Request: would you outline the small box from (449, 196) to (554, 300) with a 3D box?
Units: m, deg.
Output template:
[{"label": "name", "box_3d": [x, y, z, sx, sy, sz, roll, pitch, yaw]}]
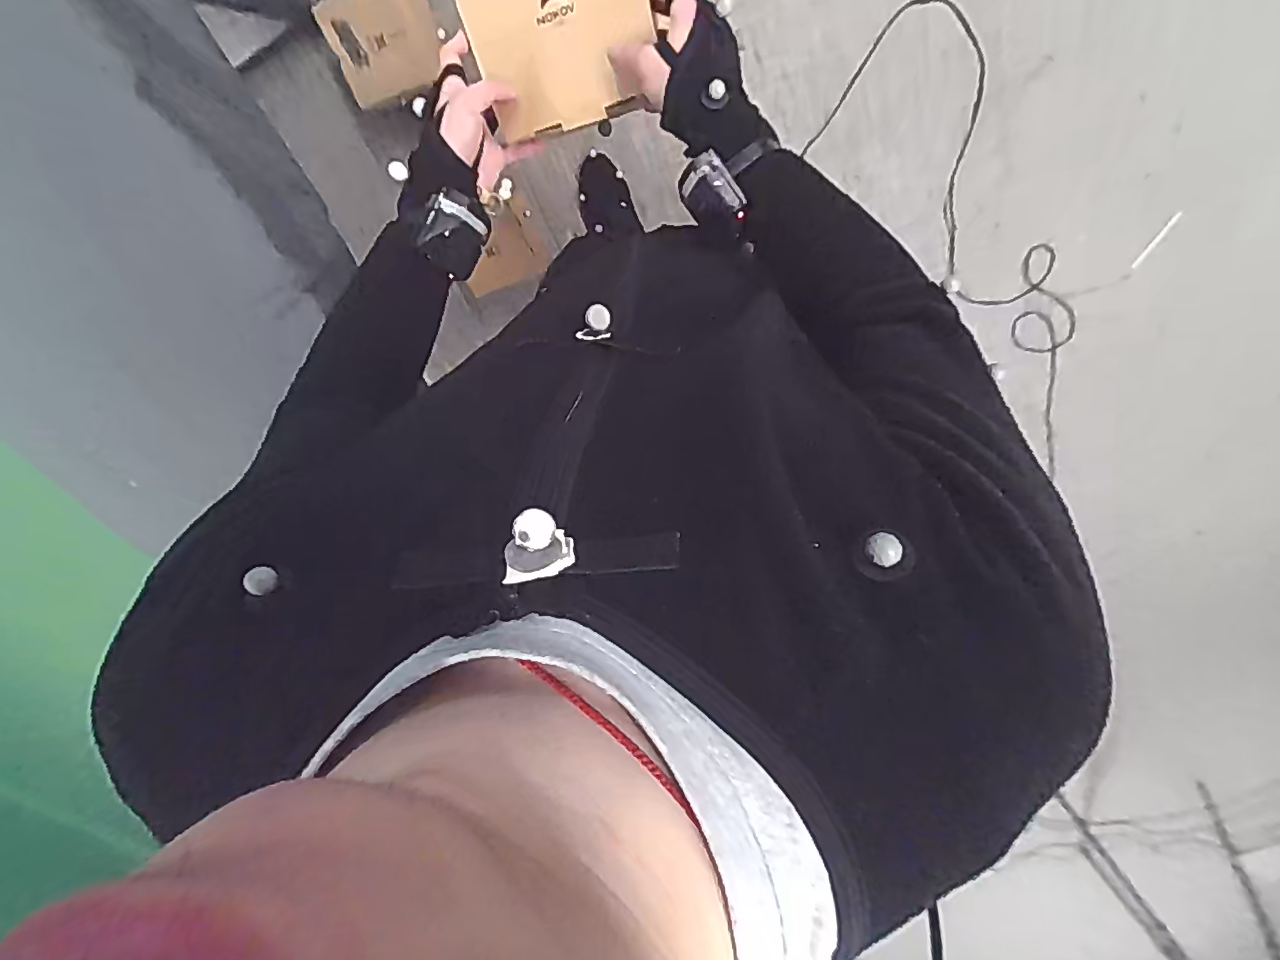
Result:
[{"label": "small box", "box_3d": [-0.320, -0.561, 1.300, 0.179, 0.176, 0.168, -16, 121, 14]}]

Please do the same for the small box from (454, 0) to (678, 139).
[{"label": "small box", "box_3d": [-0.065, -0.454, 0.520, 0.168, 0.176, 0.179, -7, 122, 16]}]

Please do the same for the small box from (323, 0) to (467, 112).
[{"label": "small box", "box_3d": [-0.481, -0.865, 1.091, 0.179, 0.176, 0.168, -15, 123, 10]}]
